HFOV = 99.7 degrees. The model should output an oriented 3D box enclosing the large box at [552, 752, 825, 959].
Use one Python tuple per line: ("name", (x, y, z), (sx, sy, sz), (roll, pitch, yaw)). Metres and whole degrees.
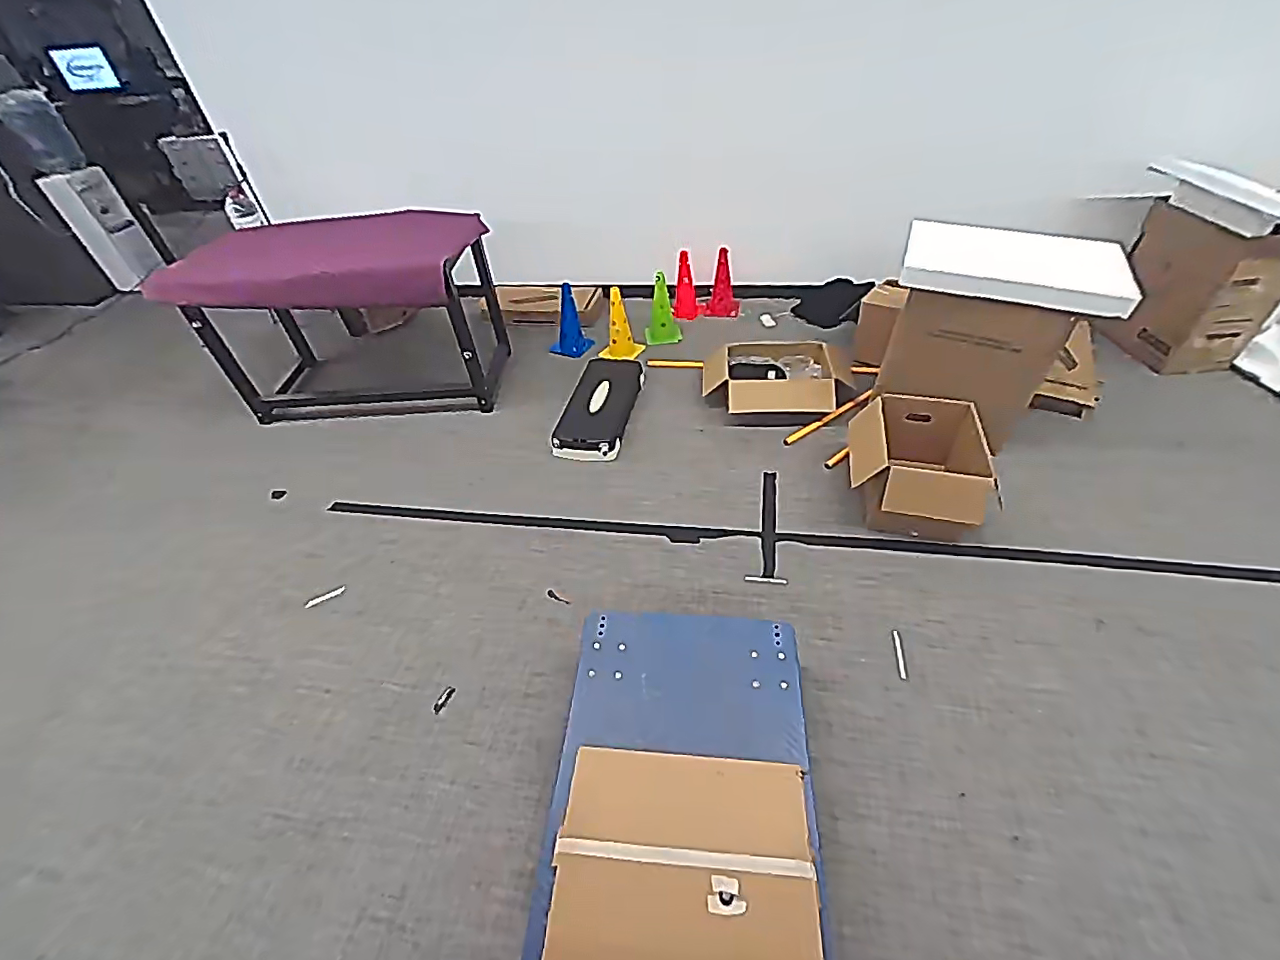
("large box", (0.083, 0.719, 0.973), (0.408, 0.320, 0.320), (2, 45, 6))
